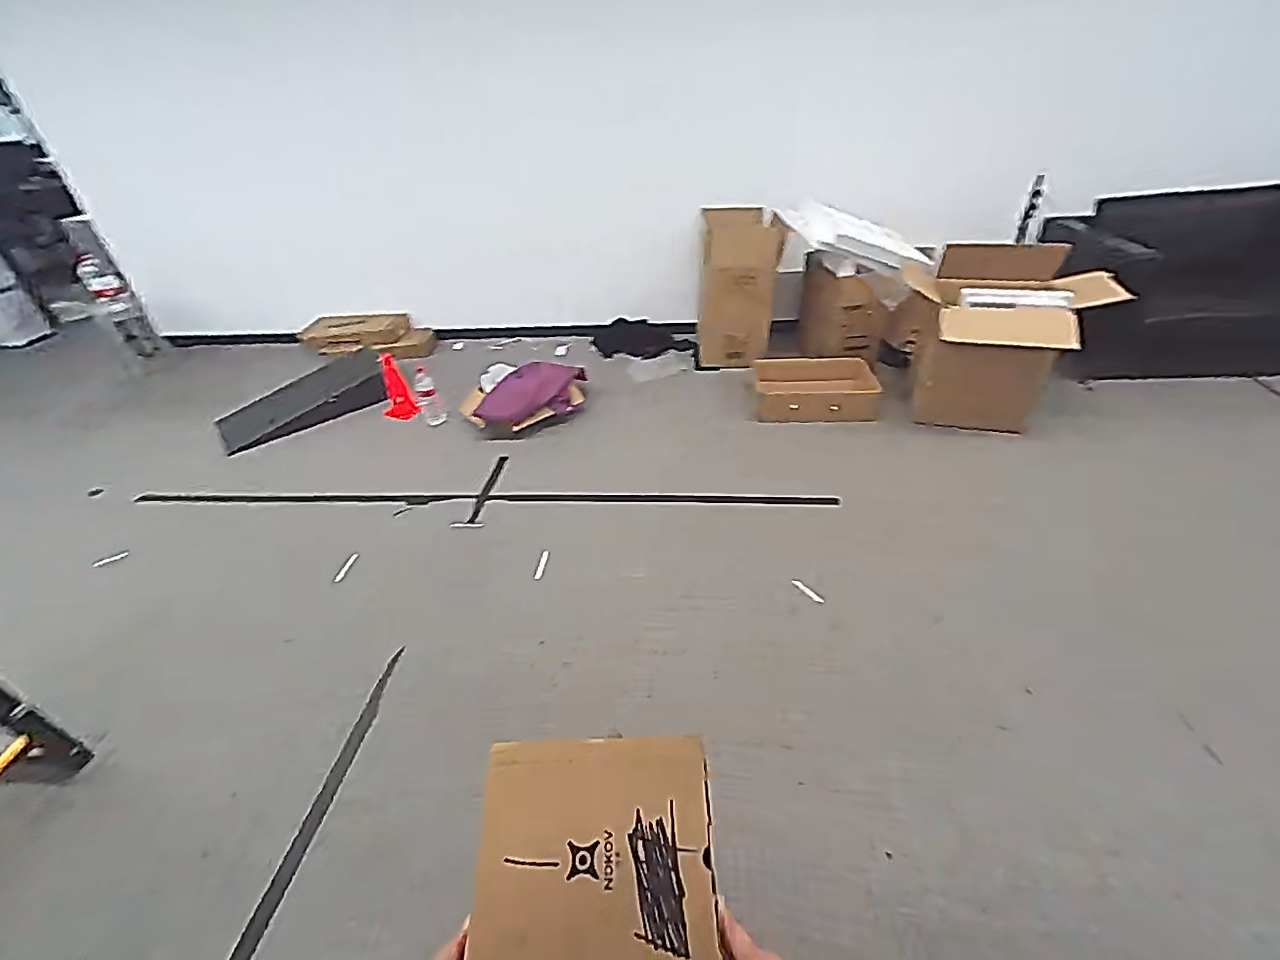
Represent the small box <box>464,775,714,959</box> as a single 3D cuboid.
[{"bbox_3d":[-0.036,0.353,0.457,0.179,0.176,0.168,-2,54,0],"label":"small box"}]
